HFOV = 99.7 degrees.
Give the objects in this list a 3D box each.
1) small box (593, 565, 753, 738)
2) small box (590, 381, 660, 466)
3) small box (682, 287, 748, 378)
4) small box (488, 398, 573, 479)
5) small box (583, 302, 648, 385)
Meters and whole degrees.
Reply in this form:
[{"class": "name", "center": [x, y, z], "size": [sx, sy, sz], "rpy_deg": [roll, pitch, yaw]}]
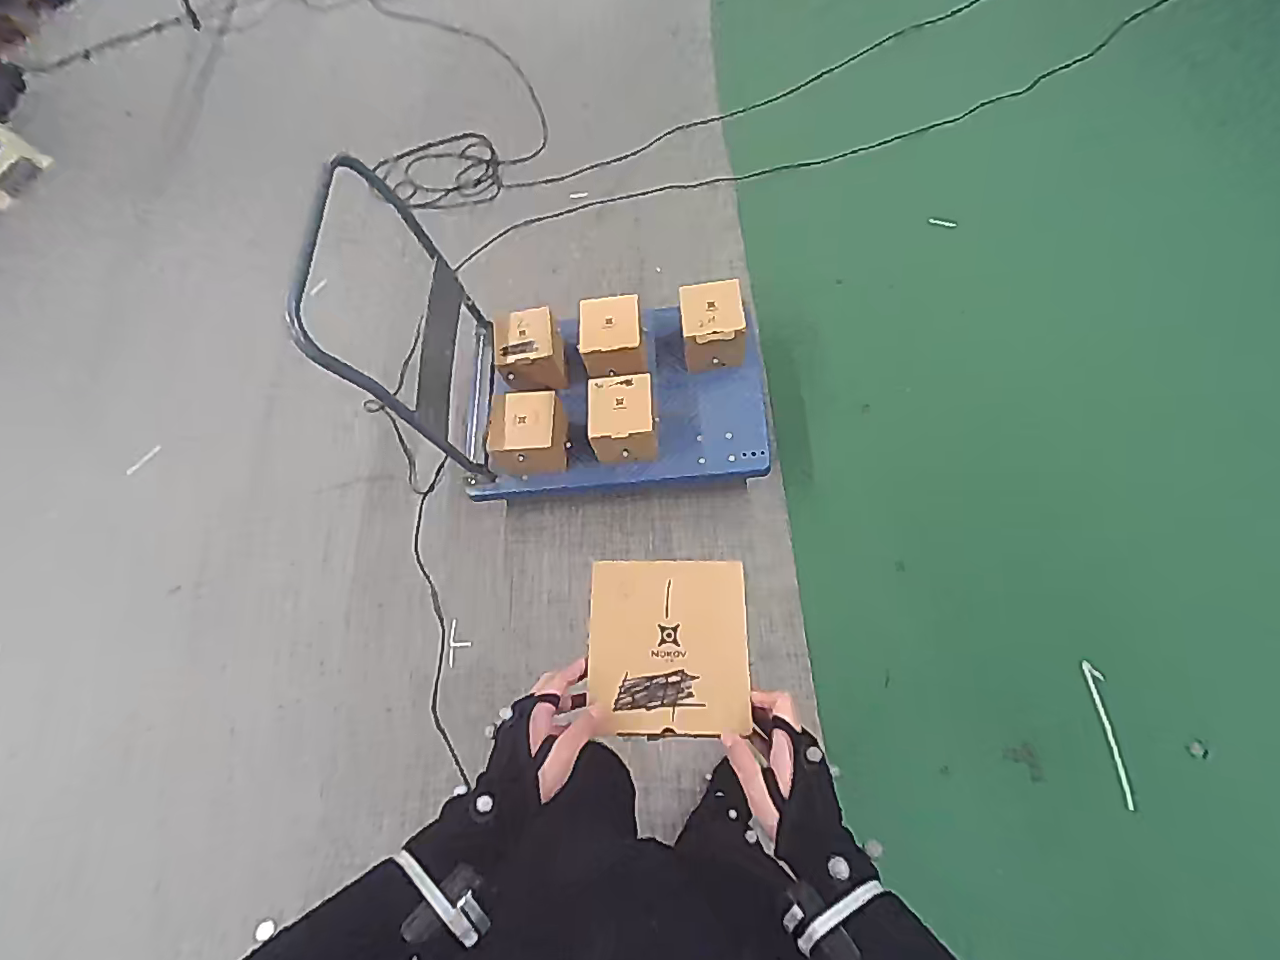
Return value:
[{"class": "small box", "center": [0.039, 0.206, 0.649], "size": [0.168, 0.176, 0.179], "rpy_deg": [0, 68, 2]}, {"class": "small box", "center": [-0.036, -0.143, 1.456], "size": [0.168, 0.176, 0.179], "rpy_deg": [-4, 67, 6]}, {"class": "small box", "center": [0.210, -0.413, 1.532], "size": [0.168, 0.176, 0.179], "rpy_deg": [-6, 67, 7]}, {"class": "small box", "center": [-0.293, -0.108, 1.478], "size": [0.179, 0.176, 0.168], "rpy_deg": [-2, 68, 7]}, {"class": "small box", "center": [-0.067, -0.384, 1.563], "size": [0.168, 0.176, 0.179], "rpy_deg": [-4, 69, 6]}]
